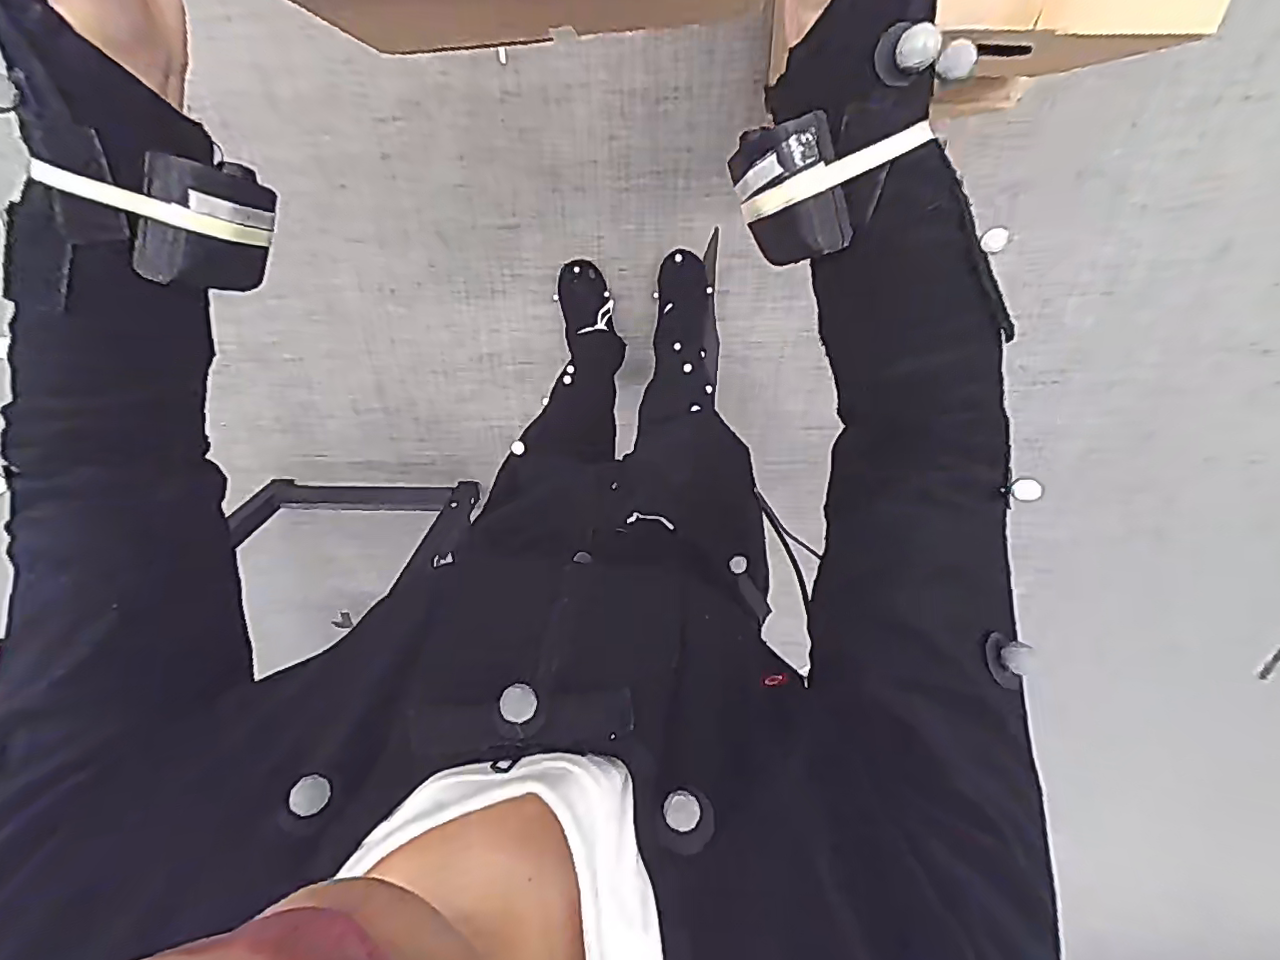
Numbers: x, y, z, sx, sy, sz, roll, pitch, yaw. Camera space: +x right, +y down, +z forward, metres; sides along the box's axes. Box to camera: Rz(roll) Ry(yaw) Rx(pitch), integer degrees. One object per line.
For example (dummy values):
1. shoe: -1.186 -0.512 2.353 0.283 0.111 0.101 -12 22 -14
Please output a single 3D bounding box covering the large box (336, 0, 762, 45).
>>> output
1. large box: -0.068 -0.475 0.215 0.320 0.320 0.408 -4 117 4
